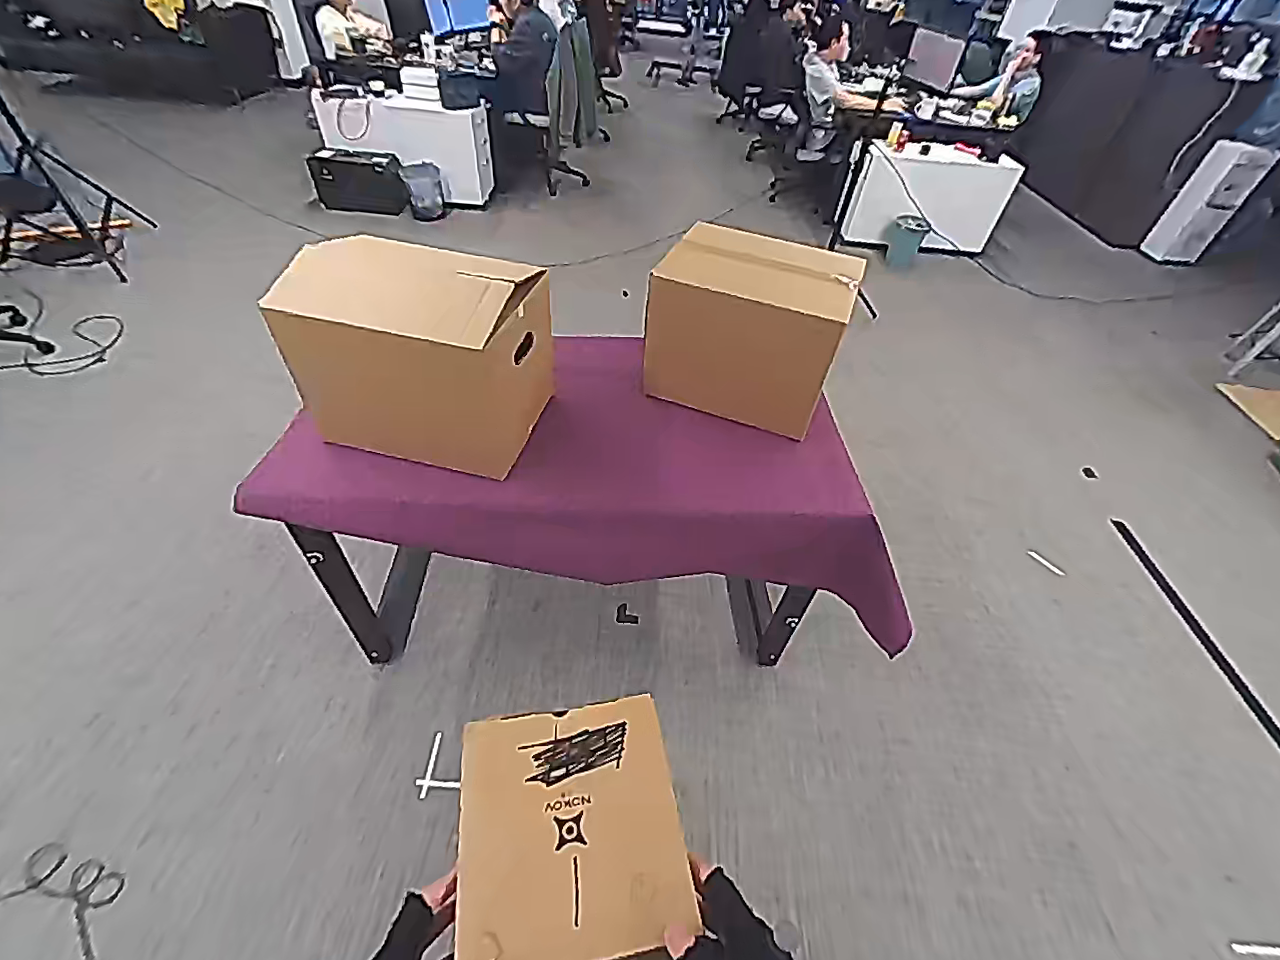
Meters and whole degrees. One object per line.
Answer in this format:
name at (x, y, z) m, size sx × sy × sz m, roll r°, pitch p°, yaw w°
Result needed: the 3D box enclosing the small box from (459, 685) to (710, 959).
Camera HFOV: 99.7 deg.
small box at (-0.053, 0.307, 0.460) m, size 0.168 × 0.176 × 0.179 m, roll -5°, pitch 42°, yaw -11°
